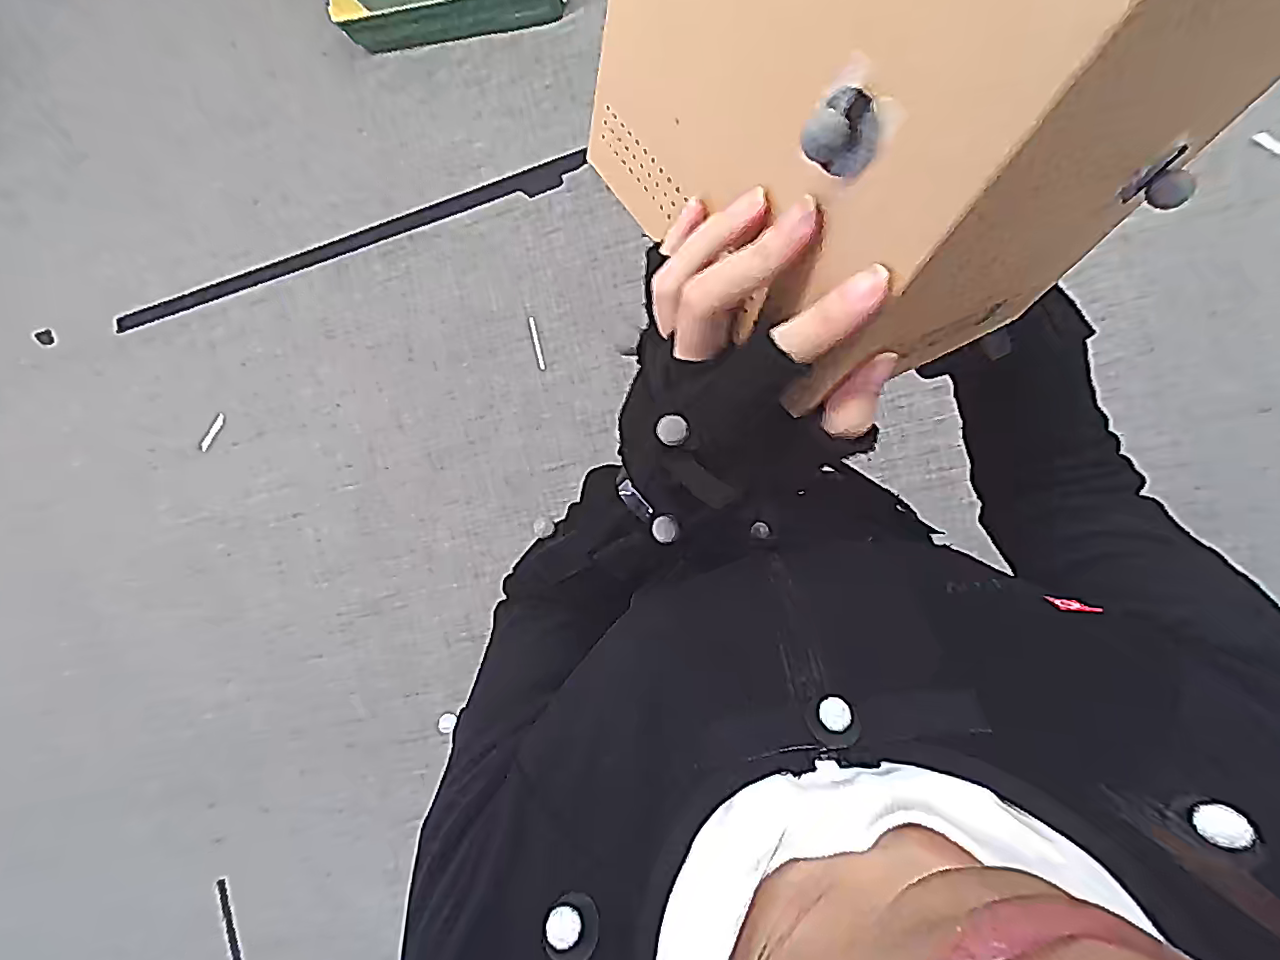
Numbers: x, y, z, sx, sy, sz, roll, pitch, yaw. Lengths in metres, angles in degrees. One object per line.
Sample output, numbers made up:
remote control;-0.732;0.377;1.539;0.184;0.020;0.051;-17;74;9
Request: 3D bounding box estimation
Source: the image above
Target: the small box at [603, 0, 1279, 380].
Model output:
small box;0.103;-0.161;0.214;0.168;0.176;0.179;-23;69;-24
